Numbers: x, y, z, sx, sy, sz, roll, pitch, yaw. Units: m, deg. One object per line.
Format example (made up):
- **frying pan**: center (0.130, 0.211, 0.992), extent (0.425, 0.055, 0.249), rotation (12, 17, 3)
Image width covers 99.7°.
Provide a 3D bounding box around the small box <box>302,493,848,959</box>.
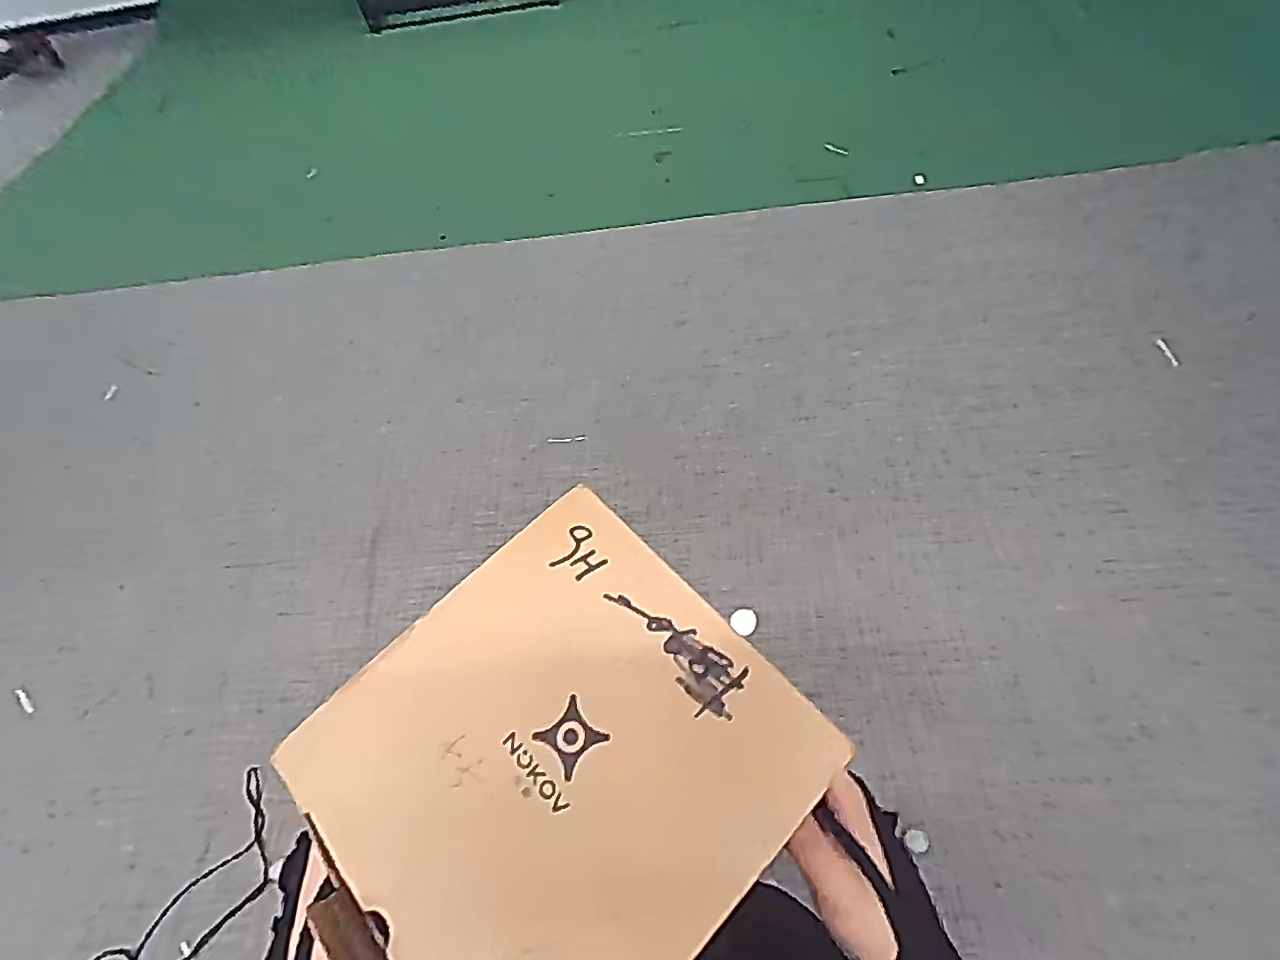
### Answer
- **small box**: center (-0.024, 0.146, 0.295), extent (0.179, 0.176, 0.168), rotation (-42, 68, -14)
